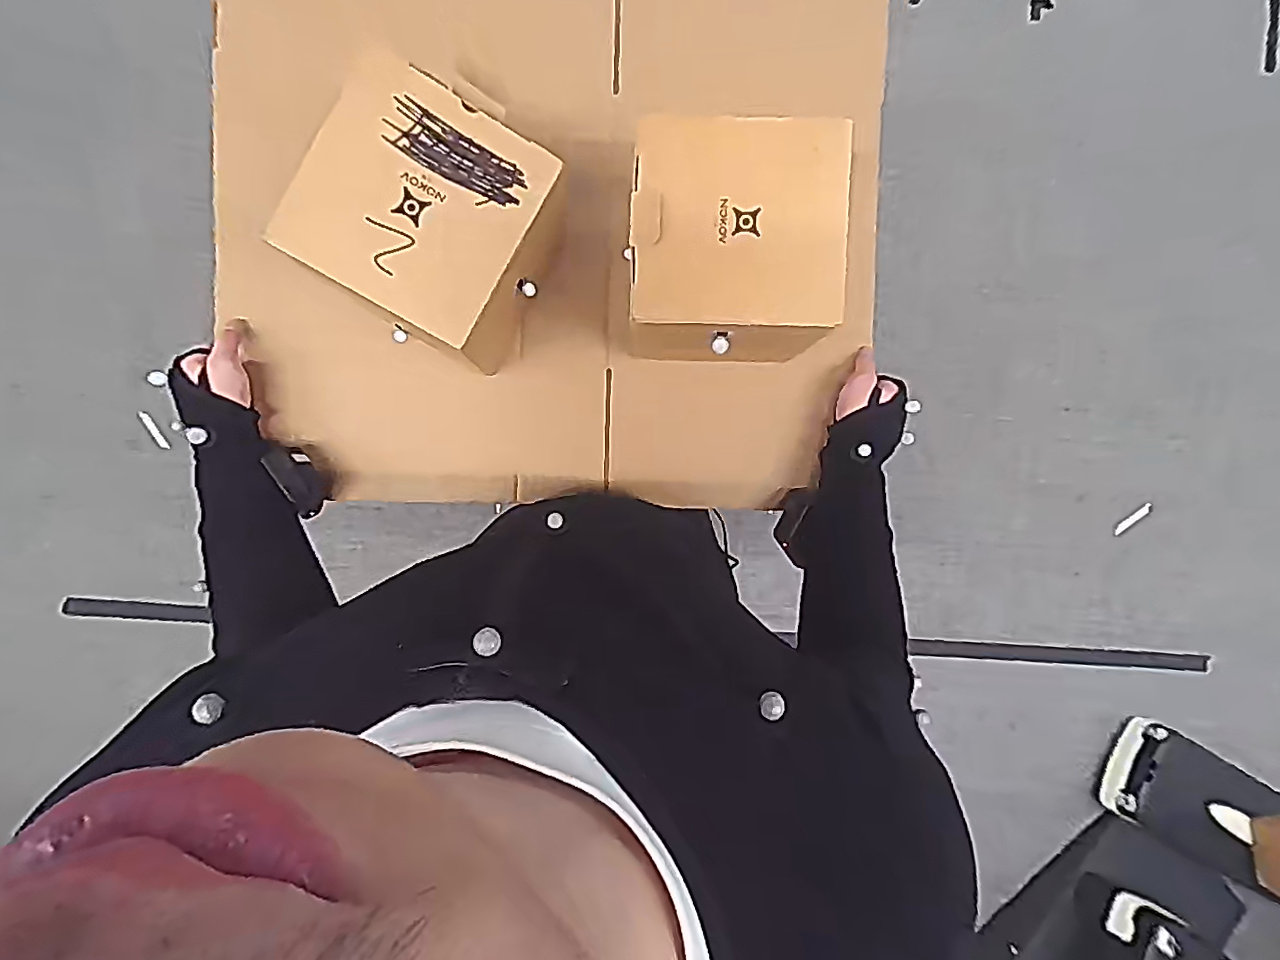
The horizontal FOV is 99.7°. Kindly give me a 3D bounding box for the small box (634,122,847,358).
[{"bbox_3d":[0.085,-0.218,0.534,0.179,0.176,0.168,1,92,2],"label":"small box"}]
